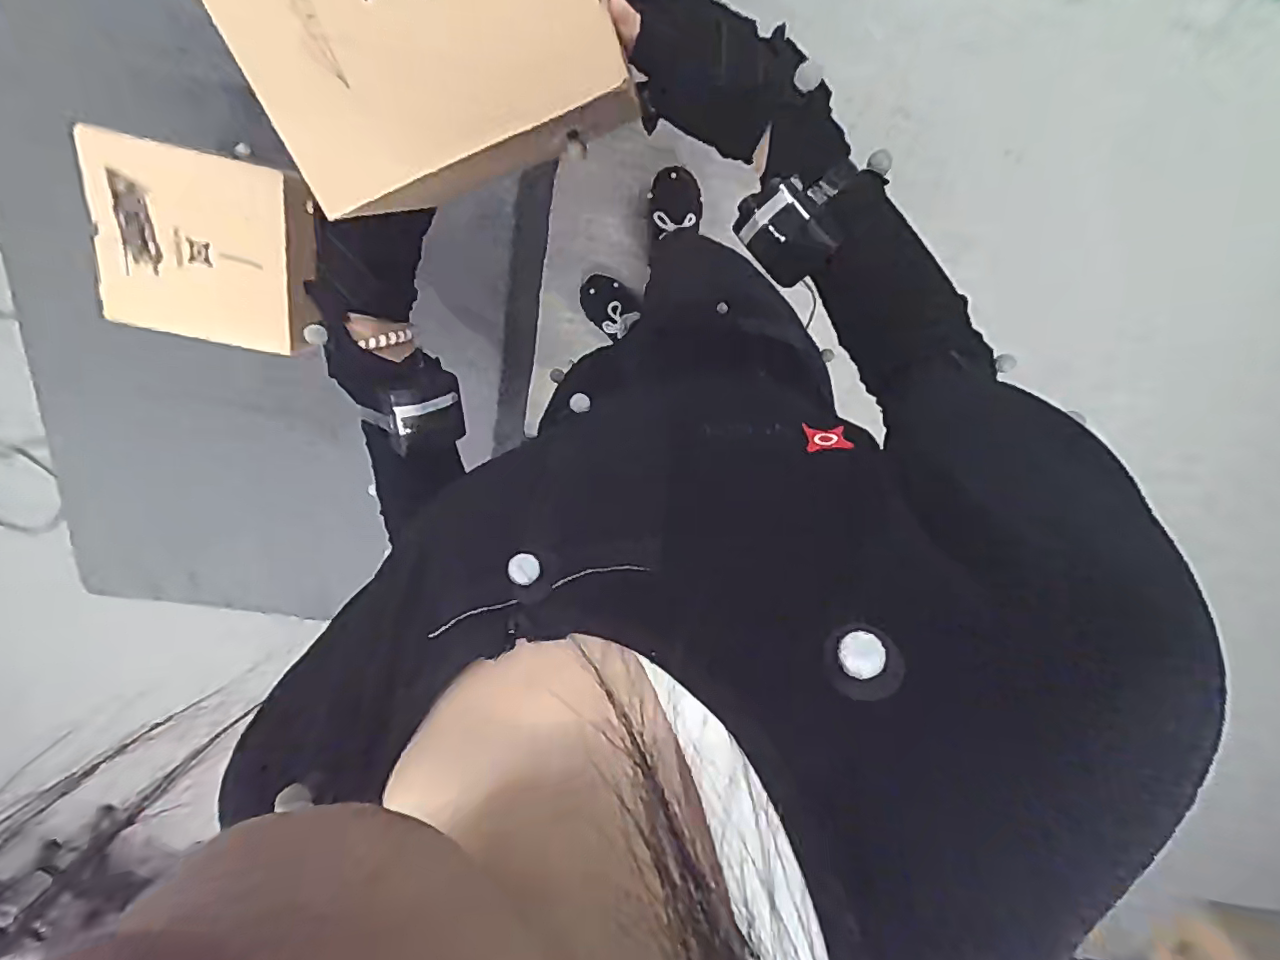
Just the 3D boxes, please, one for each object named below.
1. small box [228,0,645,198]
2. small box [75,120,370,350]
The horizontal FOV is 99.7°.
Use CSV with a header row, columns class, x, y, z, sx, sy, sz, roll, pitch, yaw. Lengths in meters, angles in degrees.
class,x,y,z,sx,sy,sz,roll,pitch,yaw
small box,-0.103,-0.277,0.303,0.179,0.176,0.168,-16,117,10
small box,-0.413,-0.247,0.569,0.179,0.176,0.168,11,113,-5
